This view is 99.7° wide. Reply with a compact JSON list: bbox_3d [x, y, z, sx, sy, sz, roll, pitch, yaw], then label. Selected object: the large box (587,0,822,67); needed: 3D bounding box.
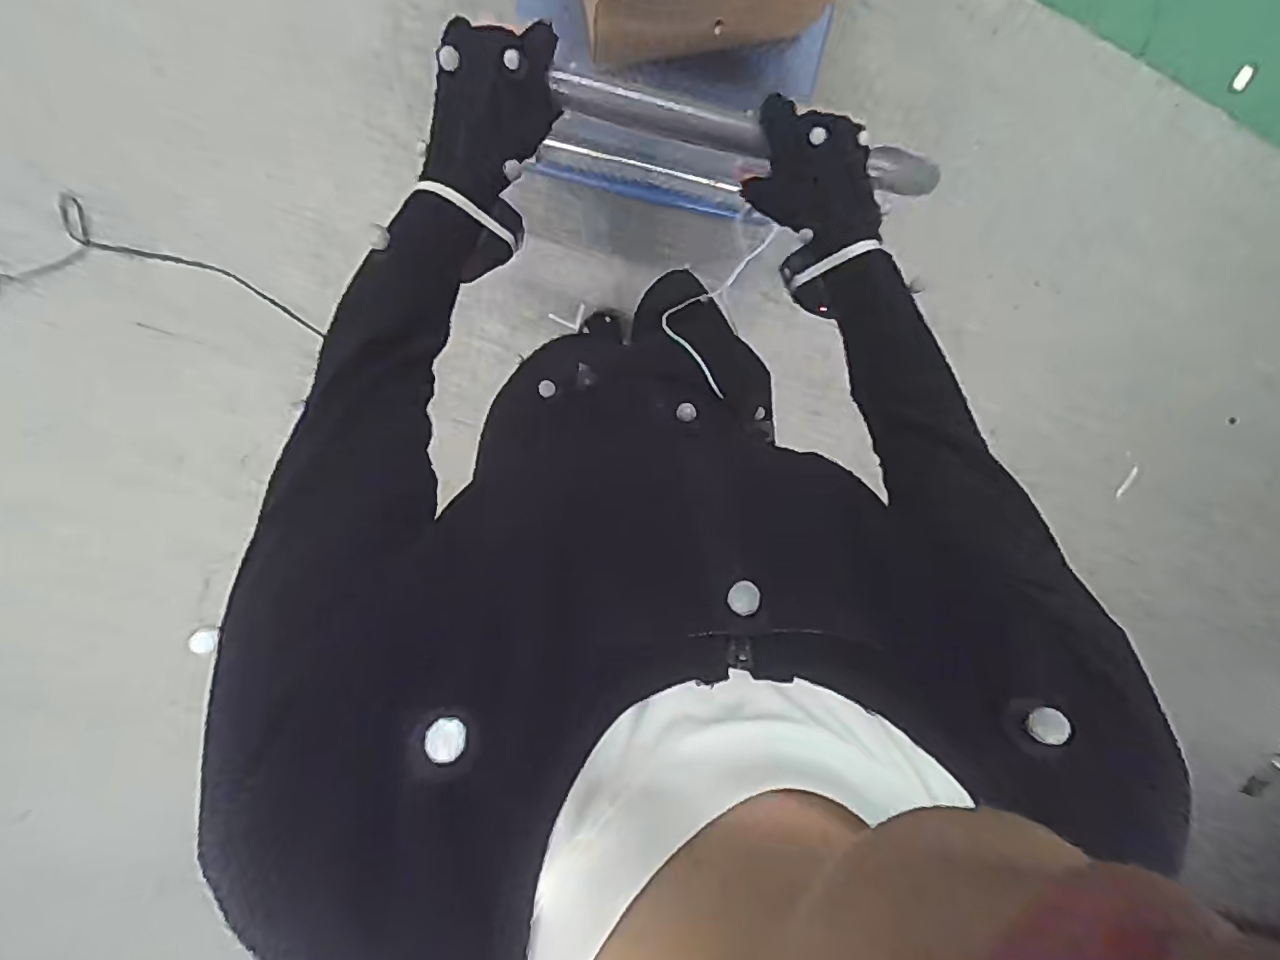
[{"bbox_3d":[0.101,-0.909,0.841,0.408,0.320,0.320,-11,111,0],"label":"large box"}]
